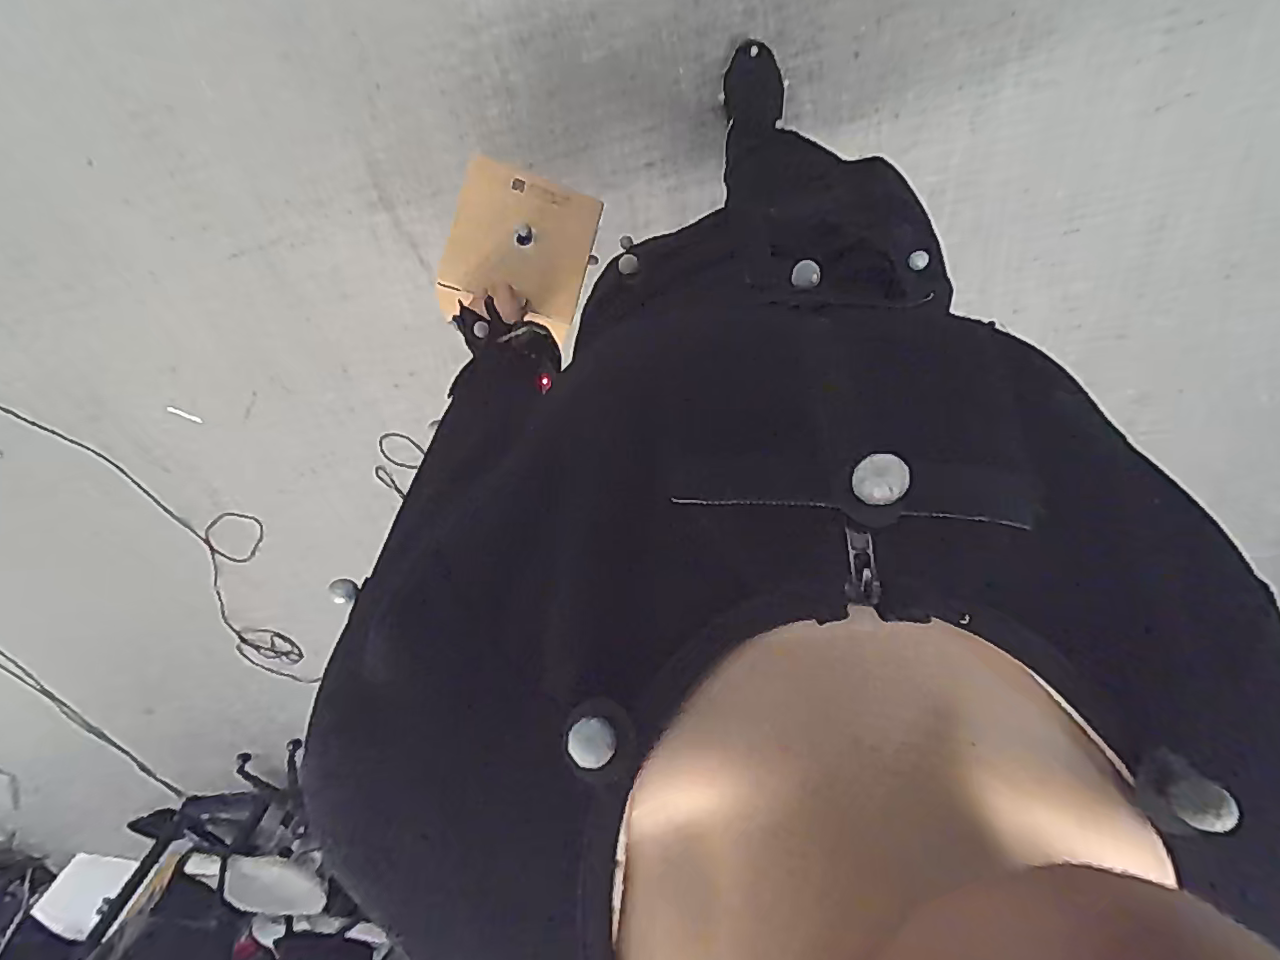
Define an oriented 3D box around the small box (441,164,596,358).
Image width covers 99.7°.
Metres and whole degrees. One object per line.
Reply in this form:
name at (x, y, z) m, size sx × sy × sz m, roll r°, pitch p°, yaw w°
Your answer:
small box at (-0.163, -0.287, 0.737) m, size 0.168 × 0.179 × 0.176 m, roll 13°, pitch 86°, yaw -13°
